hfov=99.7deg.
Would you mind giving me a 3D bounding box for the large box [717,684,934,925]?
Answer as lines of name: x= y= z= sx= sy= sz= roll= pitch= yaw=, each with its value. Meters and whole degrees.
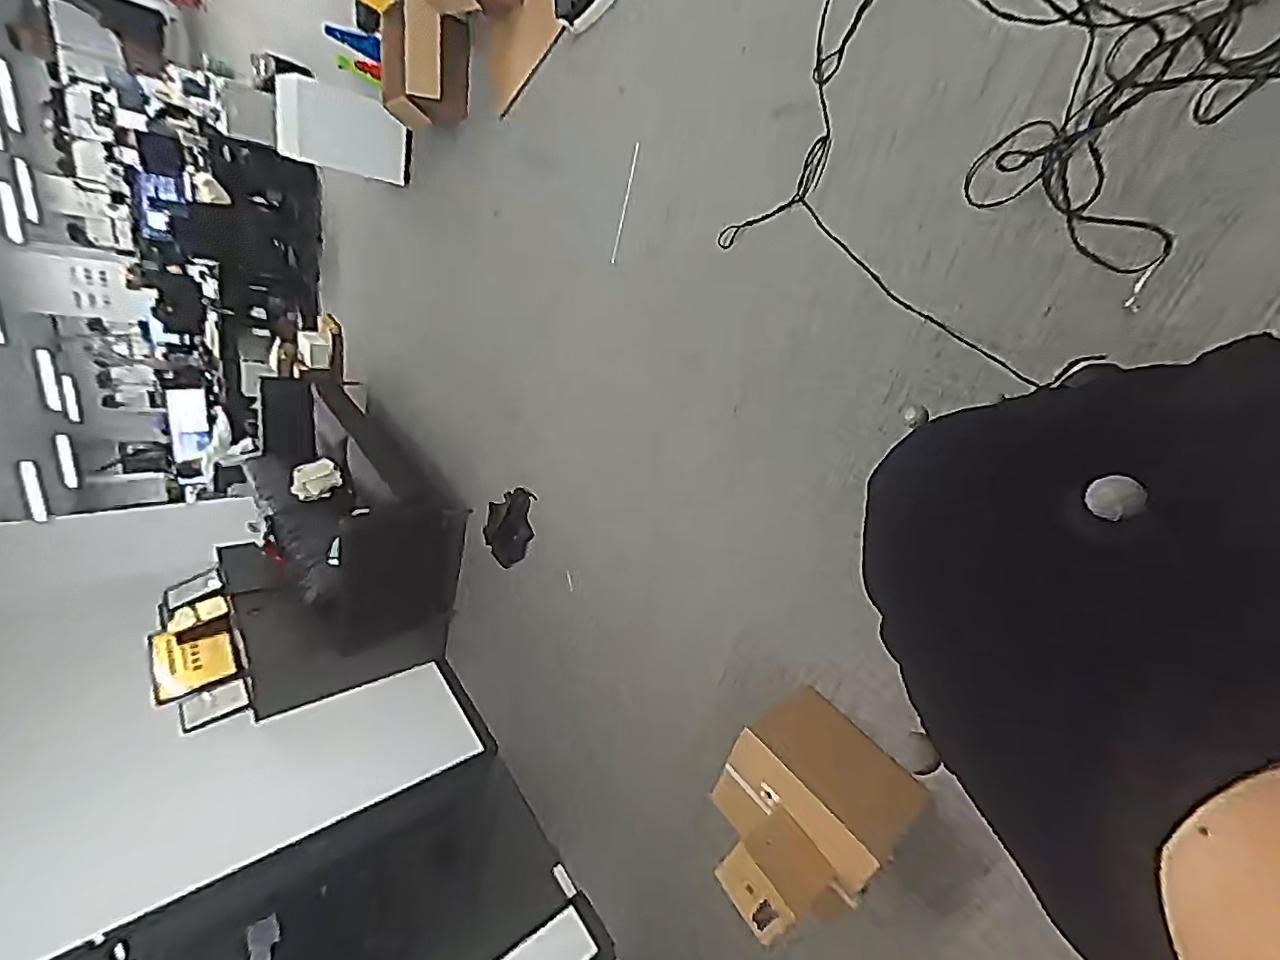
large box: x=0.493 y=0.850 z=1.474 sx=0.408 sy=0.320 sz=0.320 roll=38 pitch=123 yaw=39
